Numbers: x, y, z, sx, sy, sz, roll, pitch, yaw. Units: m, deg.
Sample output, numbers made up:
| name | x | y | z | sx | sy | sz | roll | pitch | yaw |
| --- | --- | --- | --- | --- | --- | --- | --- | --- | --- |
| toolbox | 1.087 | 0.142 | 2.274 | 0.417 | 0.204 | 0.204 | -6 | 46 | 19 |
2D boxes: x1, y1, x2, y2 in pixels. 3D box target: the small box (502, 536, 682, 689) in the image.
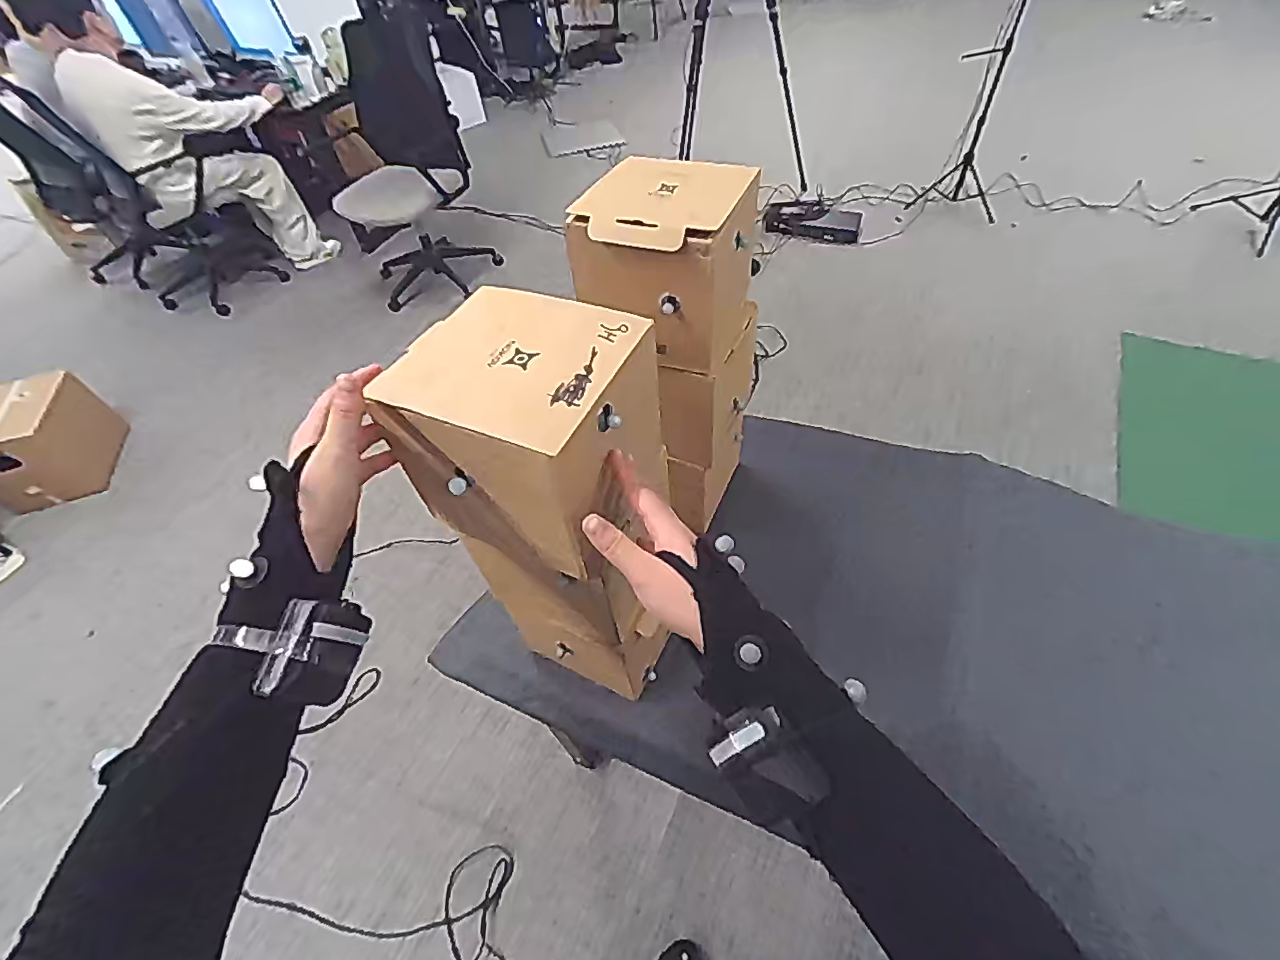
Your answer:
| name | x | y | z | sx | sy | sz | roll | pitch | yaw |
| --- | --- | --- | --- | --- | --- | --- | --- | --- | --- |
| small box | -0.051 | 0.161 | 0.736 | 0.179 | 0.176 | 0.168 | 18 | 55 | 21 |

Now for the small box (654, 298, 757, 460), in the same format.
| name | x | y | z | sx | sy | sz | roll | pitch | yaw |
| --- | --- | --- | --- | --- | --- | --- | --- | --- | --- |
| small box | 0.052 | -0.152 | 0.768 | 0.179 | 0.176 | 0.168 | 18 | 56 | 20 |

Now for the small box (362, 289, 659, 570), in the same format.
| name | x | y | z | sx | sy | sz | roll | pitch | yaw |
| --- | --- | --- | --- | --- | --- | --- | --- | --- | --- |
| small box | -0.095 | -0.044 | 0.485 | 0.179 | 0.176 | 0.168 | 17 | 54 | 19 |

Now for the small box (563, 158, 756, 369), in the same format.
| name | x | y | z | sx | sy | sz | roll | pitch | yaw |
| --- | --- | --- | --- | --- | --- | --- | --- | --- | --- |
| small box | 0.031 | -0.257 | 0.645 | 0.168 | 0.176 | 0.179 | 15 | 53 | 16 |

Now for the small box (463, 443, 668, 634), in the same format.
| name | x | y | z | sx | sy | sz | roll | pitch | yaw |
| --- | --- | --- | --- | --- | --- | --- | --- | --- | --- |
| small box | -0.077 | 0.052 | 0.618 | 0.179 | 0.176 | 0.168 | 15 | 54 | 17 |
